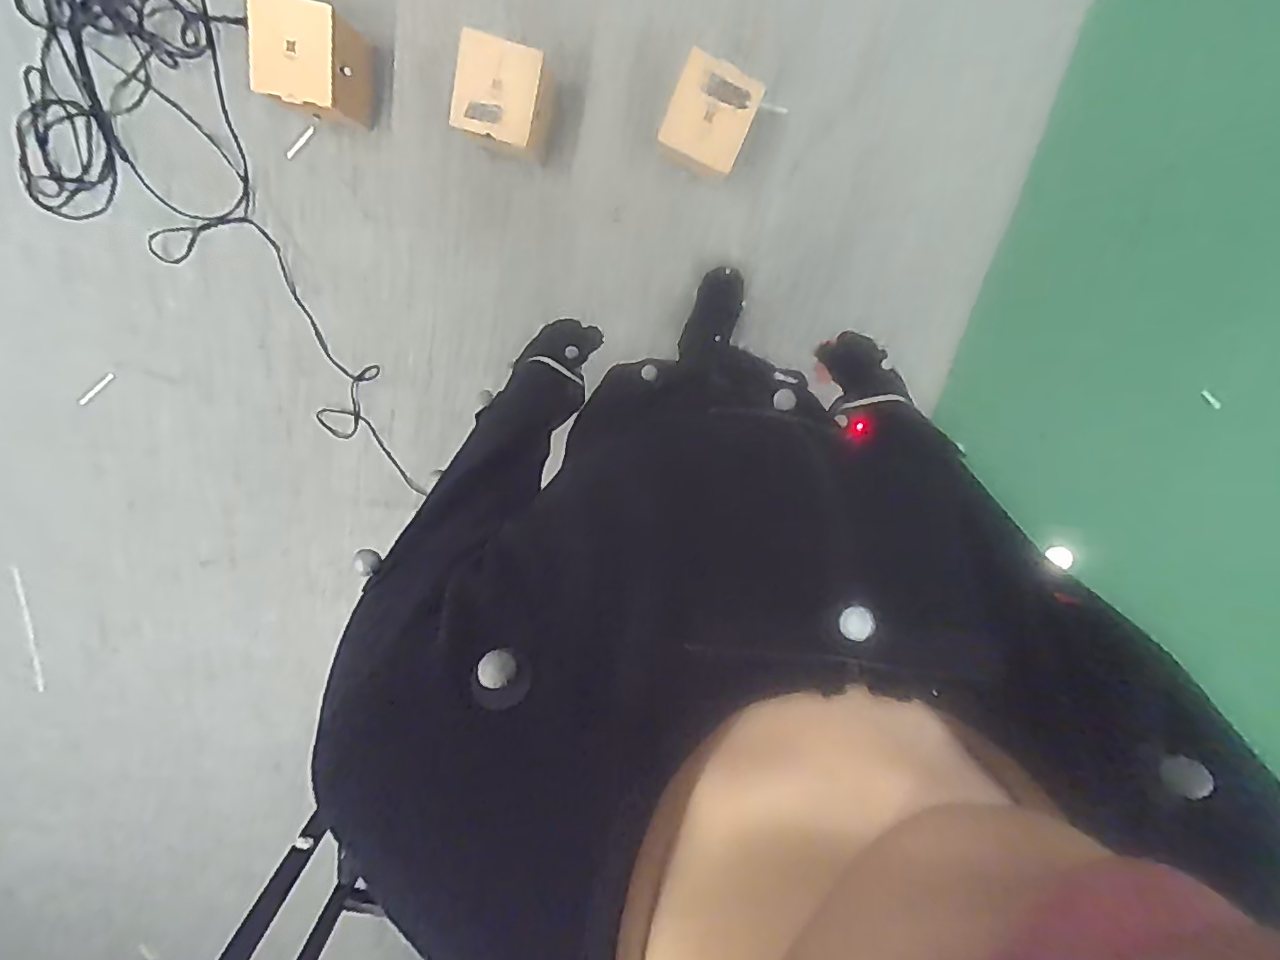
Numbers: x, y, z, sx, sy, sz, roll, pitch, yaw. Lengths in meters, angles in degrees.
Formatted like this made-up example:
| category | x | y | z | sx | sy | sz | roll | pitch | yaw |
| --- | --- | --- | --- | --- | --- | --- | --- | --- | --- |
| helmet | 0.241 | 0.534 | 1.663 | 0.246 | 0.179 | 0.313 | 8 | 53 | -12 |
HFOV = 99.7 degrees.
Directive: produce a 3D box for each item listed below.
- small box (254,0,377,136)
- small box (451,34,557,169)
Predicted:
| category | x | y | z | sx | sy | sz | roll | pitch | yaw |
| --- | --- | --- | --- | --- | --- | --- | --- | --- | --- |
| small box | -0.681 | -0.868 | 1.151 | 0.168 | 0.176 | 0.179 | 11 | 109 | -2 |
| small box | -0.284 | -0.797 | 1.162 | 0.168 | 0.176 | 0.179 | 15 | 107 | -3 |
